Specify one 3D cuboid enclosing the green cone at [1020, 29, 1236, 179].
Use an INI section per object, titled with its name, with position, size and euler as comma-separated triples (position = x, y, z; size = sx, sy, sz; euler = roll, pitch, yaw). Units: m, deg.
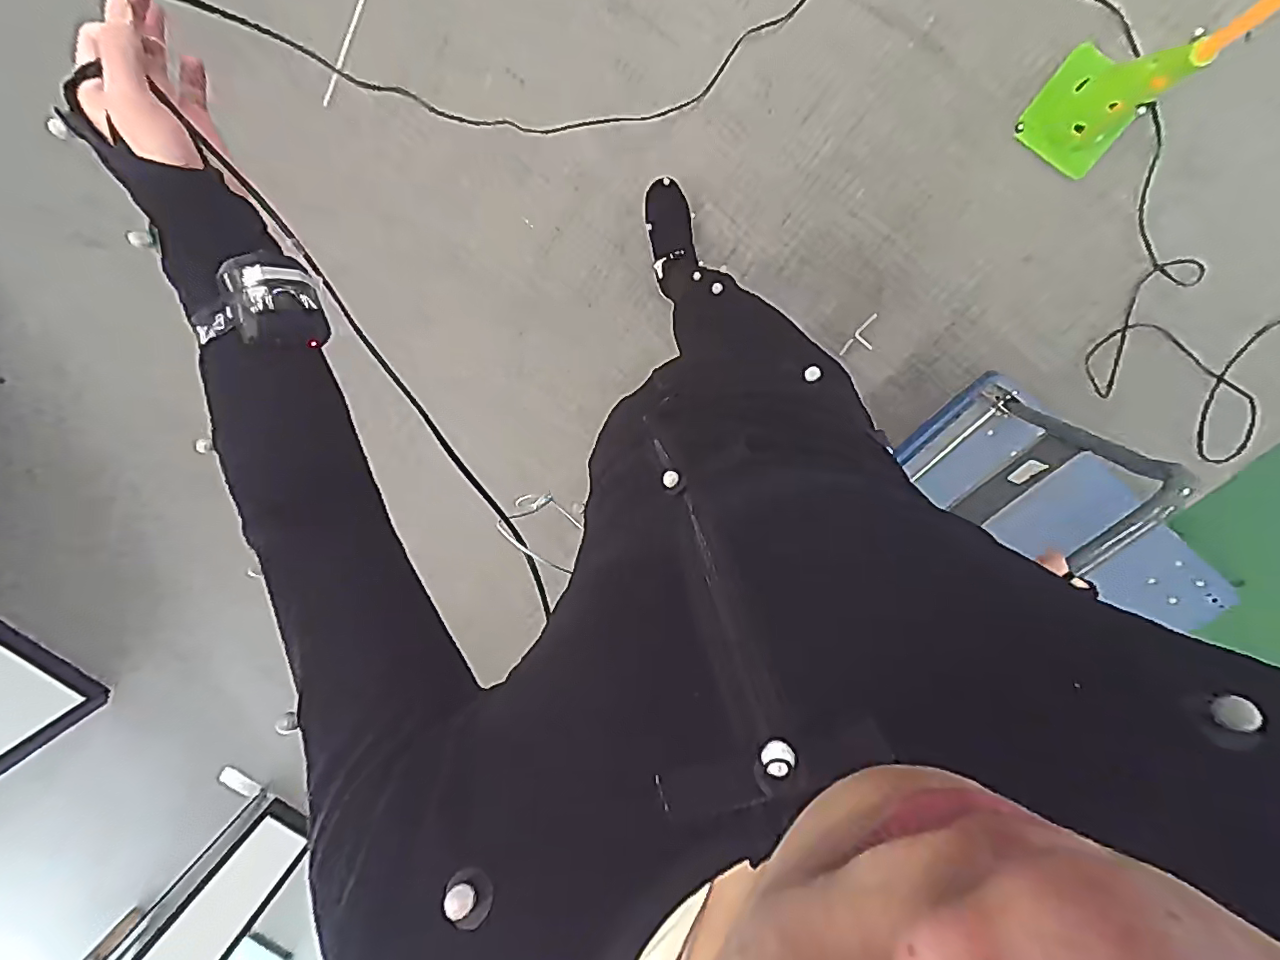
[green cone]
position = 0.945, -0.742, 1.019
size = 0.200, 0.368, 0.202
euler = 34, 111, -3
